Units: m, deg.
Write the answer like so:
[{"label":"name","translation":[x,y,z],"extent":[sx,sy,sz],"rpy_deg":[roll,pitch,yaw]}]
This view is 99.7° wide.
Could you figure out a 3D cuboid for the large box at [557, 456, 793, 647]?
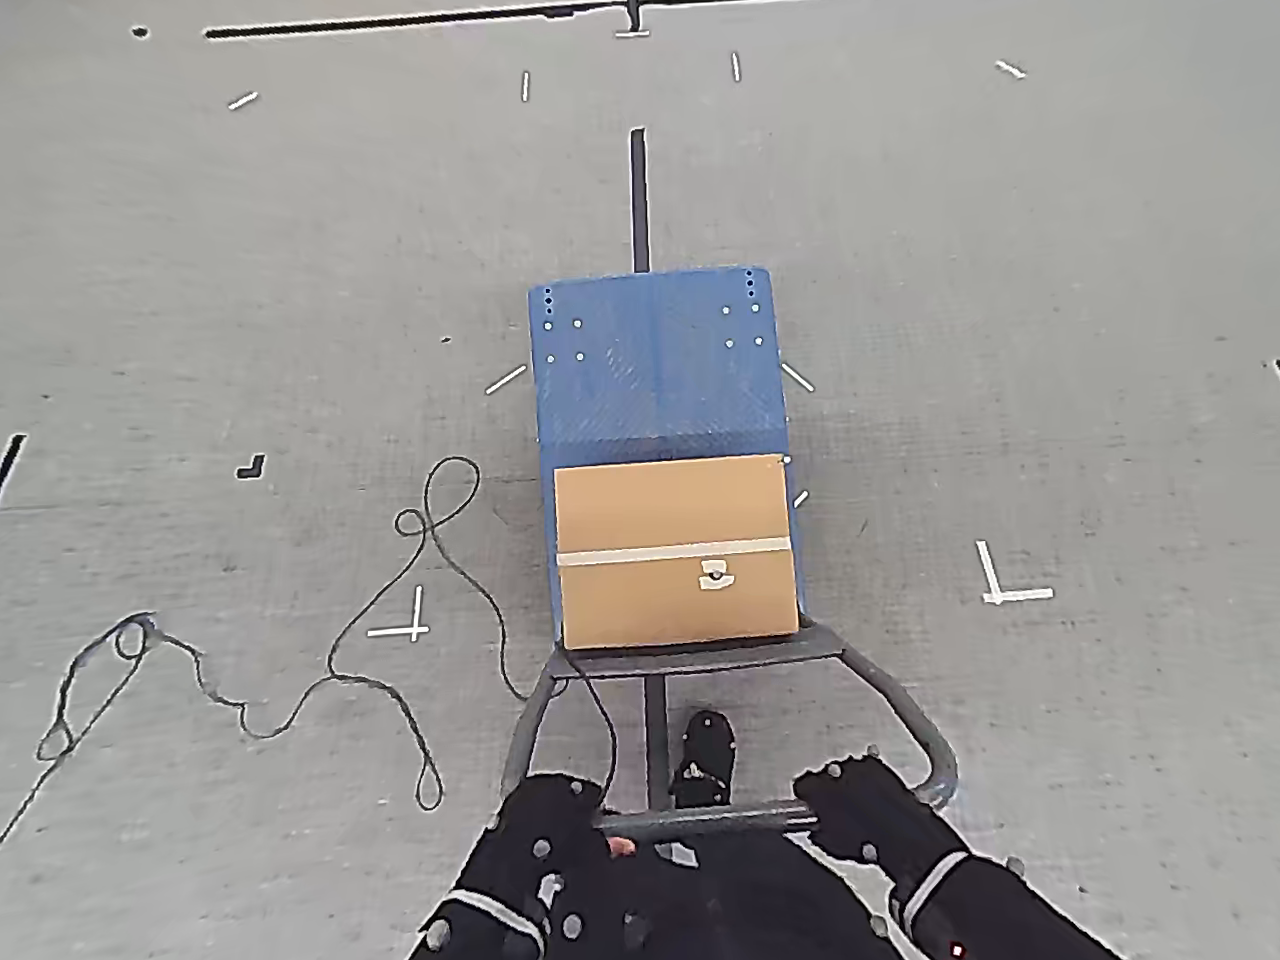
[{"label":"large box","translation":[0.057,0.137,1.107],"extent":[0.408,0.320,0.320],"rpy_deg":[-4,86,-1]}]
